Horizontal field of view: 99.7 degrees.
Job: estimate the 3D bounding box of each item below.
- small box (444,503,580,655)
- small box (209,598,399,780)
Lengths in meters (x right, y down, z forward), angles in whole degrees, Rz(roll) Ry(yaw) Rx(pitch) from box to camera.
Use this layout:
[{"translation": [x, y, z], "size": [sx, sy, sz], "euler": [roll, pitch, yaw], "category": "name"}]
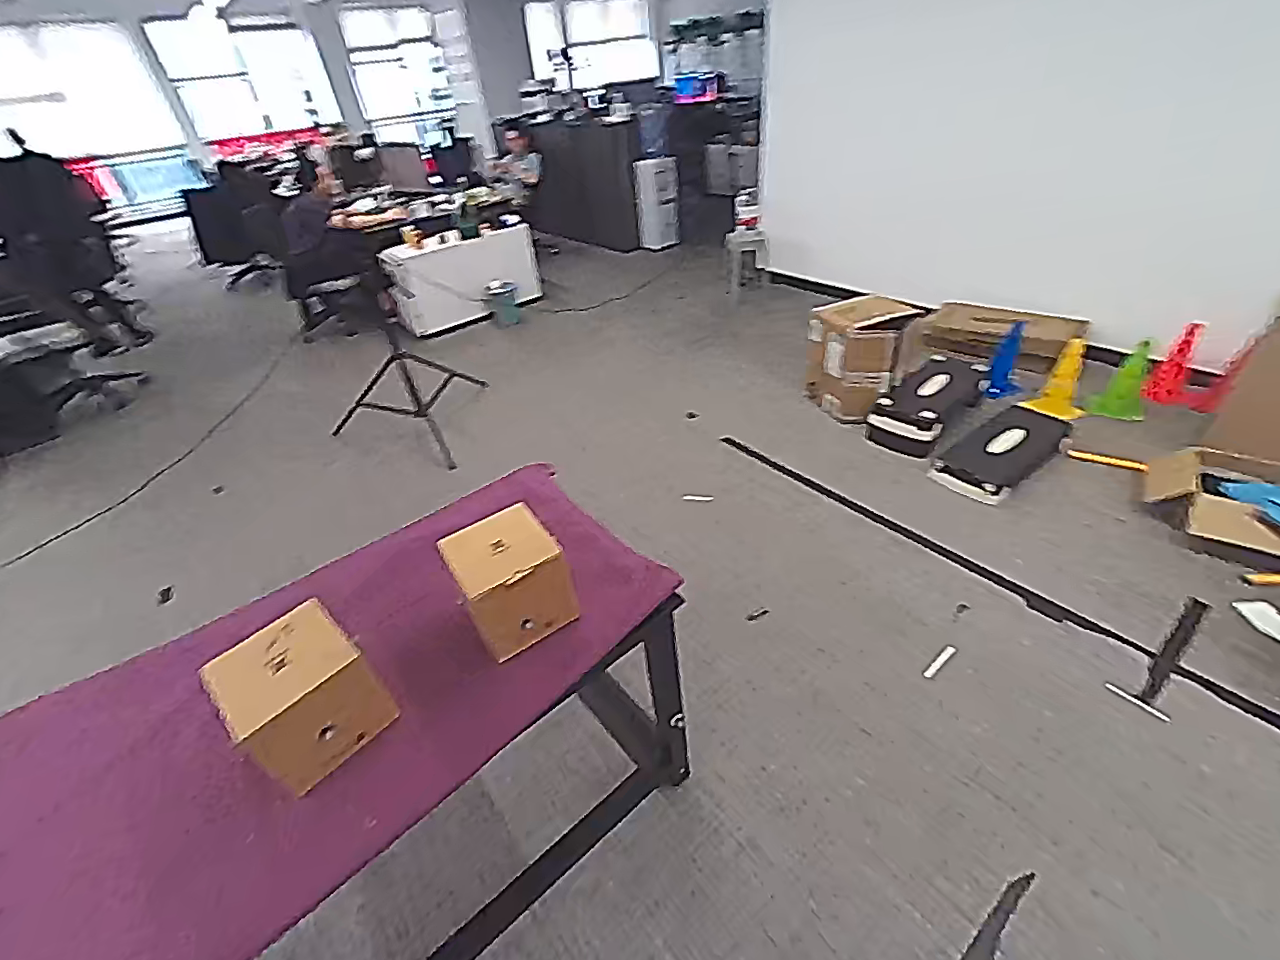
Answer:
[{"translation": [-0.229, 0.177, 0.978], "size": [0.168, 0.176, 0.179], "euler": [-27, 41, -23], "category": "small box"}, {"translation": [-0.506, 0.324, 0.831], "size": [0.179, 0.176, 0.168], "euler": [25, 47, 36], "category": "small box"}]
